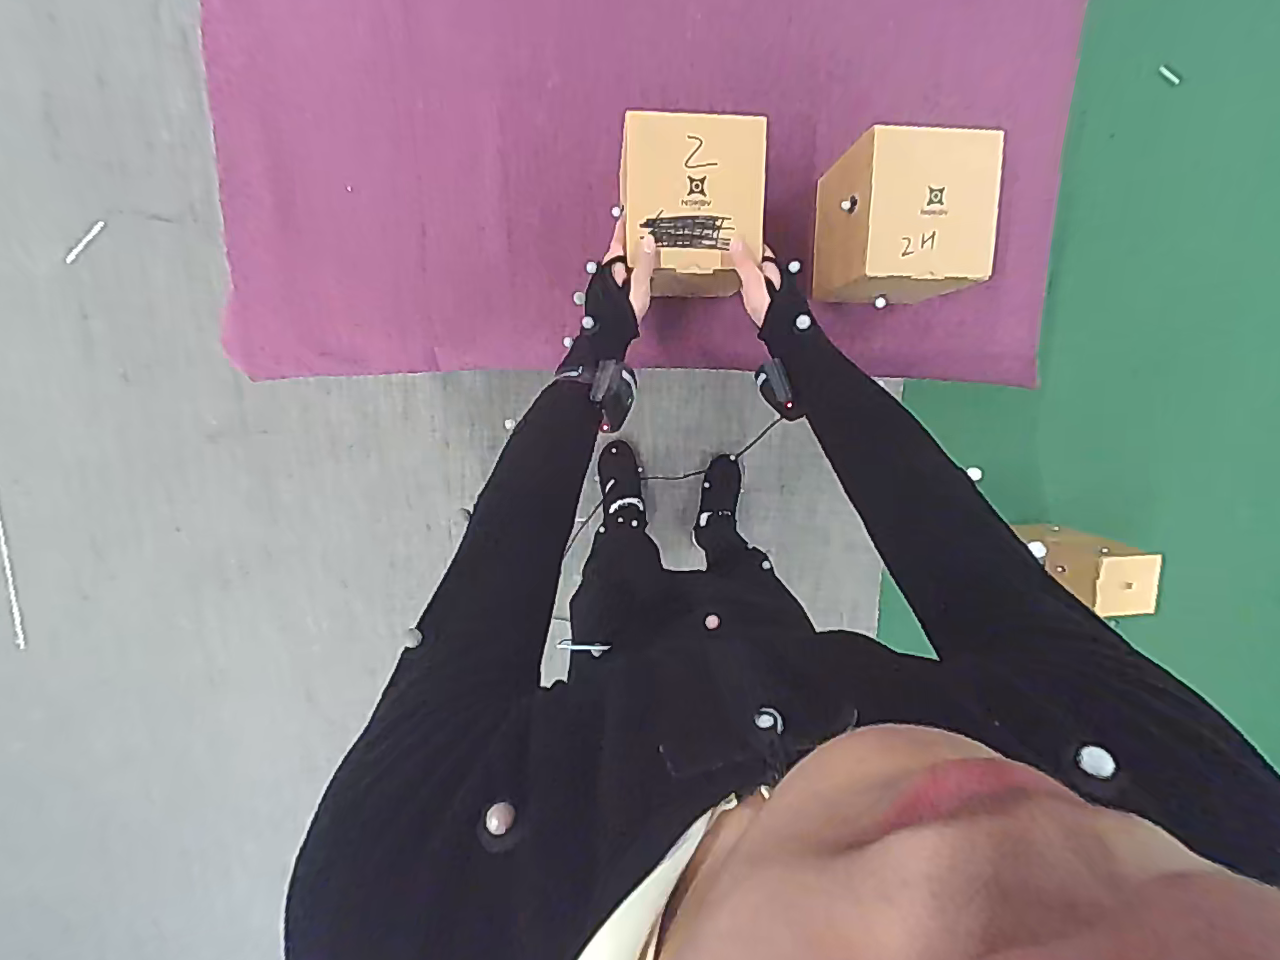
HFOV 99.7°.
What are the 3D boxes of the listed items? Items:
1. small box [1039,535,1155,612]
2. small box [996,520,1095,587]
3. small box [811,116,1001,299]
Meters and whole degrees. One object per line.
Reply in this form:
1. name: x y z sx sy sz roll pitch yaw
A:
1. small box: 1.261 0.253 1.504 0.179 0.176 0.168 -2 101 -4
2. small box: 1.237 0.222 1.662 0.179 0.176 0.168 -1 100 -6
3. small box: 0.345 -0.355 0.734 0.168 0.176 0.179 0 99 -5
